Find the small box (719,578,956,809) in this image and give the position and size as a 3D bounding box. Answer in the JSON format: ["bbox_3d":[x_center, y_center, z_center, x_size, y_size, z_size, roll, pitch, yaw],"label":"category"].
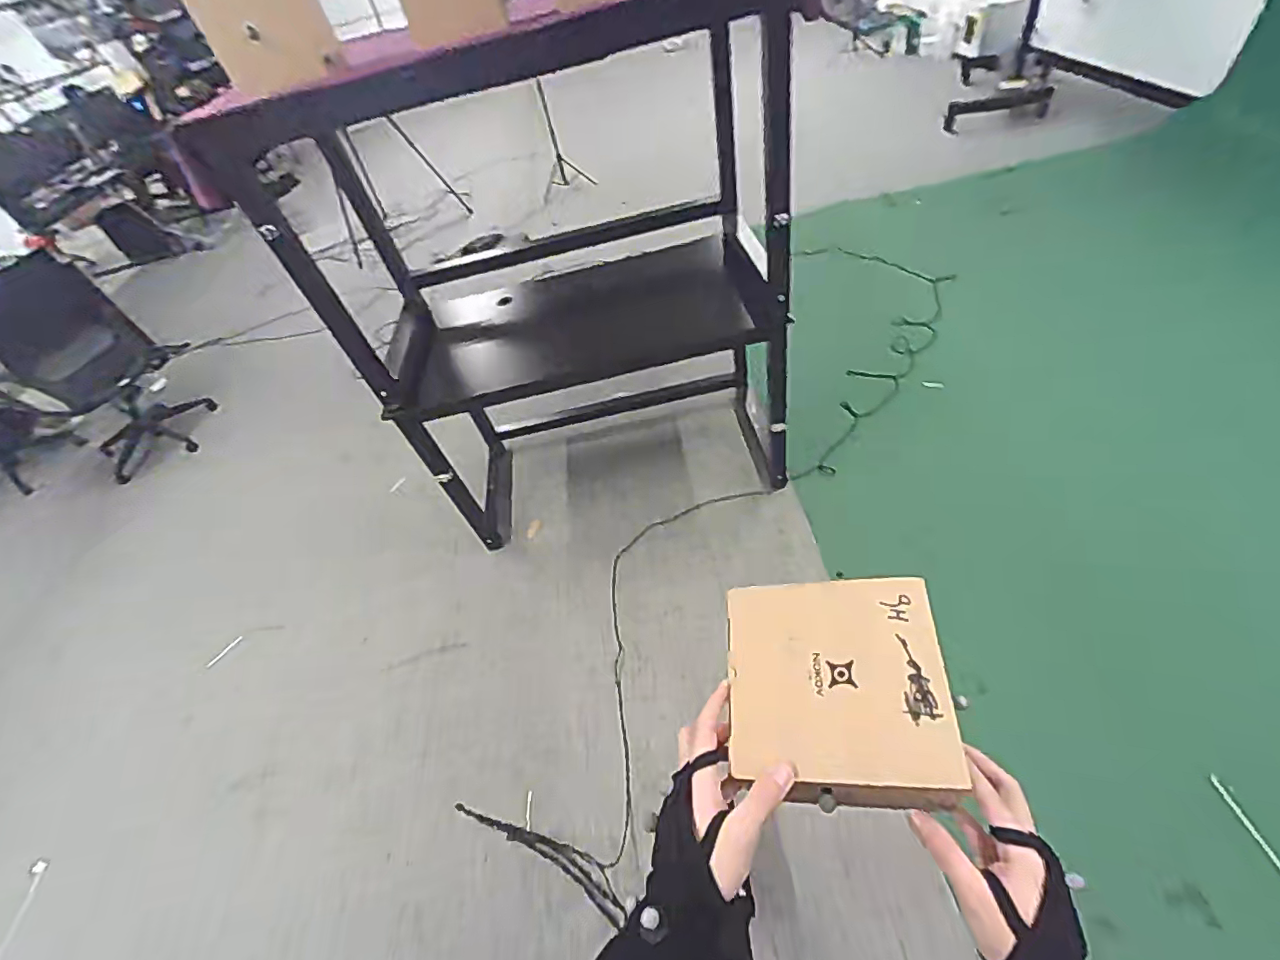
[{"bbox_3d":[0.180,0.208,0.516,0.179,0.176,0.168,-8,53,19],"label":"small box"}]

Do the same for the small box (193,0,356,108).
[{"bbox_3d":[-0.683,-0.849,1.040,0.179,0.176,0.168,-14,46,3],"label":"small box"}]
